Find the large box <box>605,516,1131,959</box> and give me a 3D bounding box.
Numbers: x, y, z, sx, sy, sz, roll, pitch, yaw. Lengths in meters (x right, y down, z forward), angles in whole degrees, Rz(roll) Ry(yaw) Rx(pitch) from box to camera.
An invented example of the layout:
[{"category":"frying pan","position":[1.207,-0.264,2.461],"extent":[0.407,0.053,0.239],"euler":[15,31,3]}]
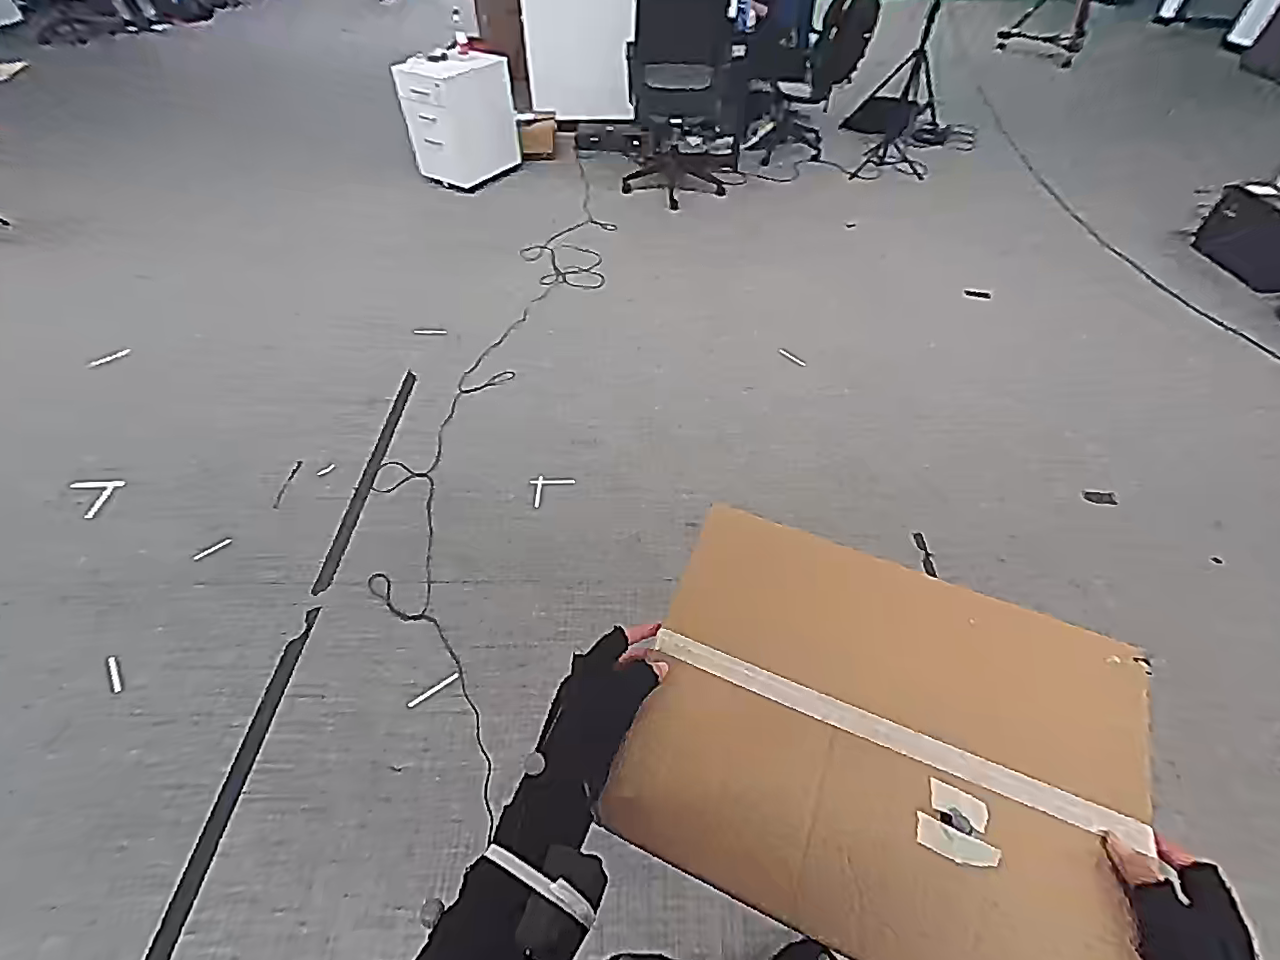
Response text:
[{"category":"large box","position":[0.212,0.295,0.605],"extent":[0.408,0.320,0.320],"euler":[19,63,14]}]
